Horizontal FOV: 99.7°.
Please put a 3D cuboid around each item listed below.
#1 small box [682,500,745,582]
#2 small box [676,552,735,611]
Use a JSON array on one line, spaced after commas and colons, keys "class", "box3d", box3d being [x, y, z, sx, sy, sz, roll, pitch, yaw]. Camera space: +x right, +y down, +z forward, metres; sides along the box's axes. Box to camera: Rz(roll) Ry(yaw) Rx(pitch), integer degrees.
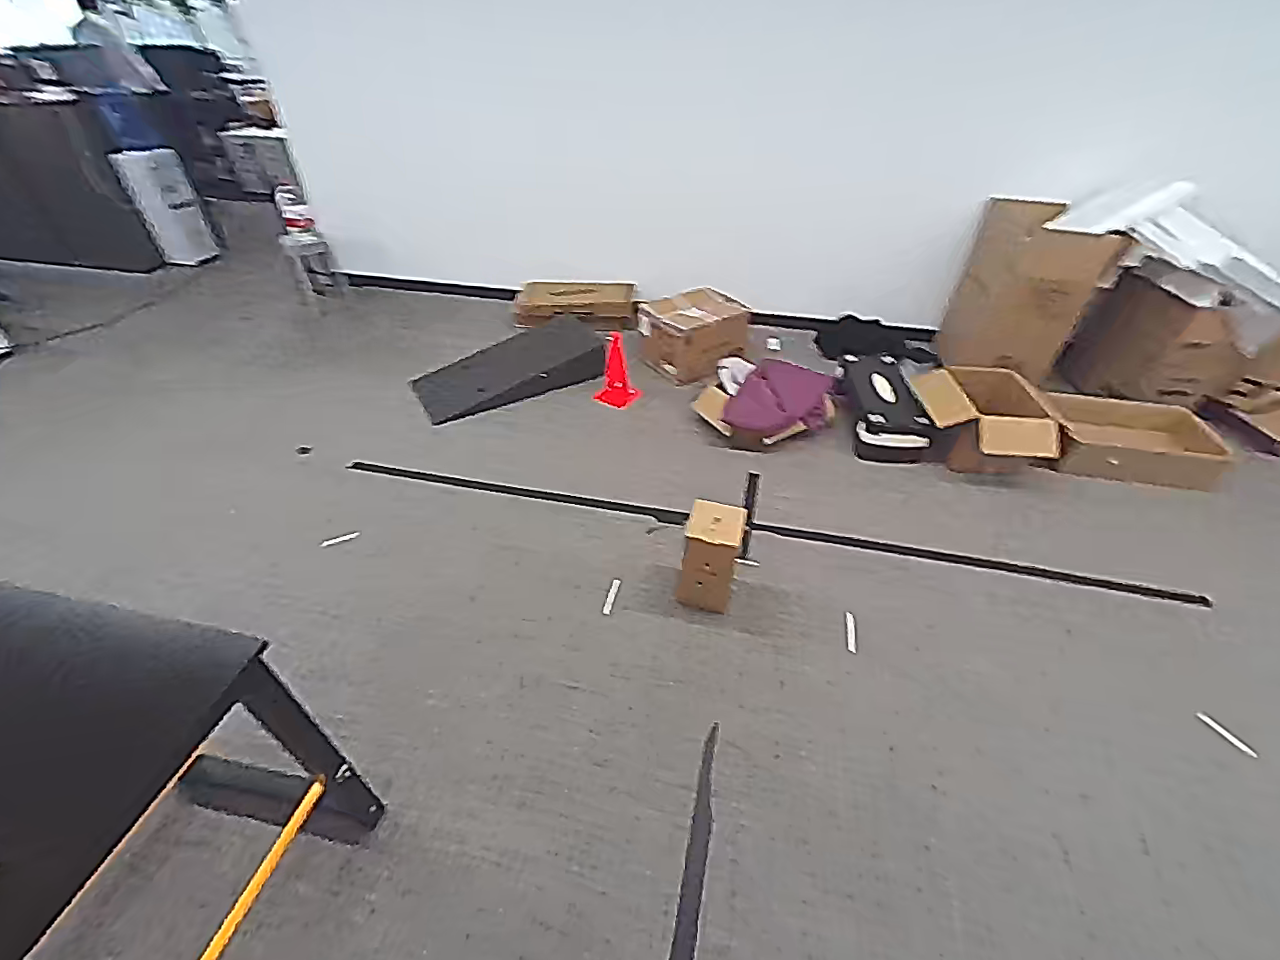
[{"class": "small box", "box3d": [0.233, 0.195, 1.738, 0.168, 0.176, 0.179, 11, 42, 12]}, {"class": "small box", "box3d": [0.224, 0.323, 1.843, 0.179, 0.176, 0.168, 12, 42, 12]}]
